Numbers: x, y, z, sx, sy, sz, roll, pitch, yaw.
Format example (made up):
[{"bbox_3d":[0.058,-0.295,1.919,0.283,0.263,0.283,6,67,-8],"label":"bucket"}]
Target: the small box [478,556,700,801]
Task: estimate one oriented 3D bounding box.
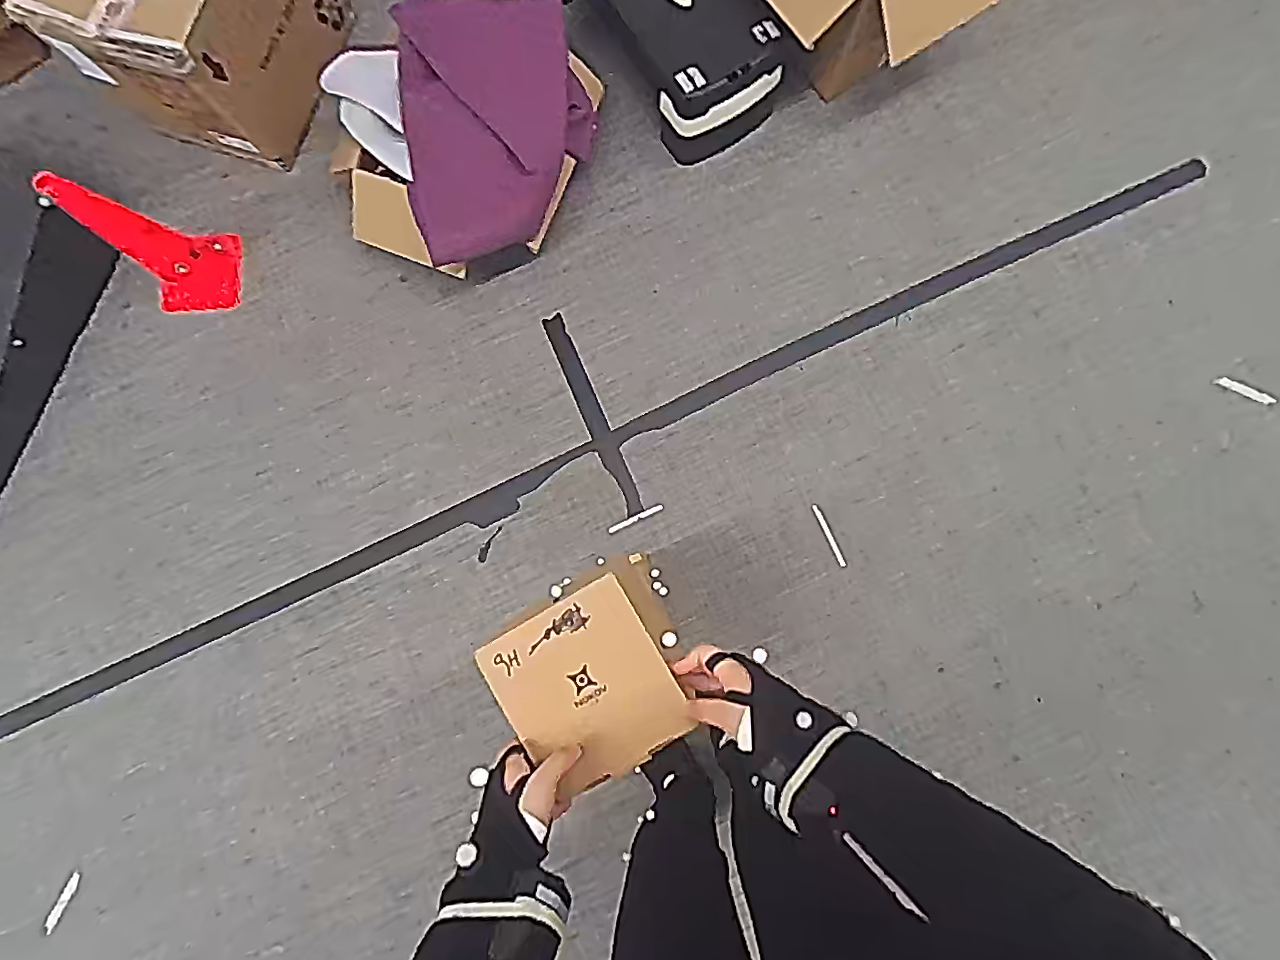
[{"bbox_3d":[-0.048,0.206,0.615,0.168,0.176,0.179,-31,89,2],"label":"small box"}]
